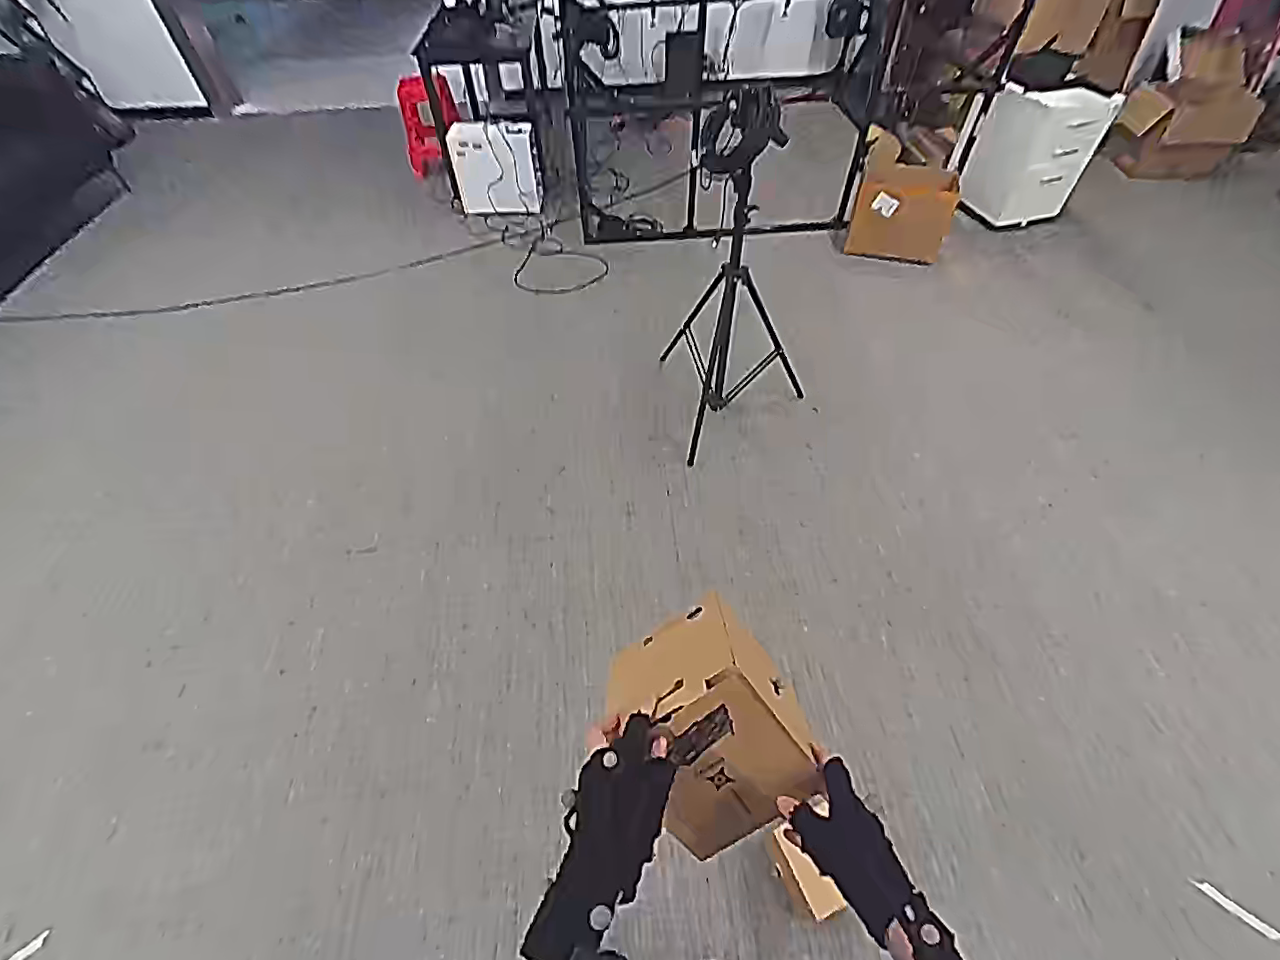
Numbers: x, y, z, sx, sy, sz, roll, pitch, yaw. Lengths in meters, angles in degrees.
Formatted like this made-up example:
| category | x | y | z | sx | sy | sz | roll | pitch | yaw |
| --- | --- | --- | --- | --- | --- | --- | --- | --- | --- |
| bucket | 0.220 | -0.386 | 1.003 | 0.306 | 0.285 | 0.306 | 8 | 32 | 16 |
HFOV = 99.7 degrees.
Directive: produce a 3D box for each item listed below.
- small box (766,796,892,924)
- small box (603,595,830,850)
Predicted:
| category | x | y | z | sx | sy | sz | roll | pitch | yaw |
| --- | --- | --- | --- | --- | --- | --- | --- | --- | --- |
| small box | 0.392 | 0.809 | 1.155 | 0.179 | 0.176 | 0.168 | -20 | 52 | -13 |
| small box | 0.077 | 0.255 | 0.614 | 0.168 | 0.179 | 0.176 | -37 | 11 | 9 |
